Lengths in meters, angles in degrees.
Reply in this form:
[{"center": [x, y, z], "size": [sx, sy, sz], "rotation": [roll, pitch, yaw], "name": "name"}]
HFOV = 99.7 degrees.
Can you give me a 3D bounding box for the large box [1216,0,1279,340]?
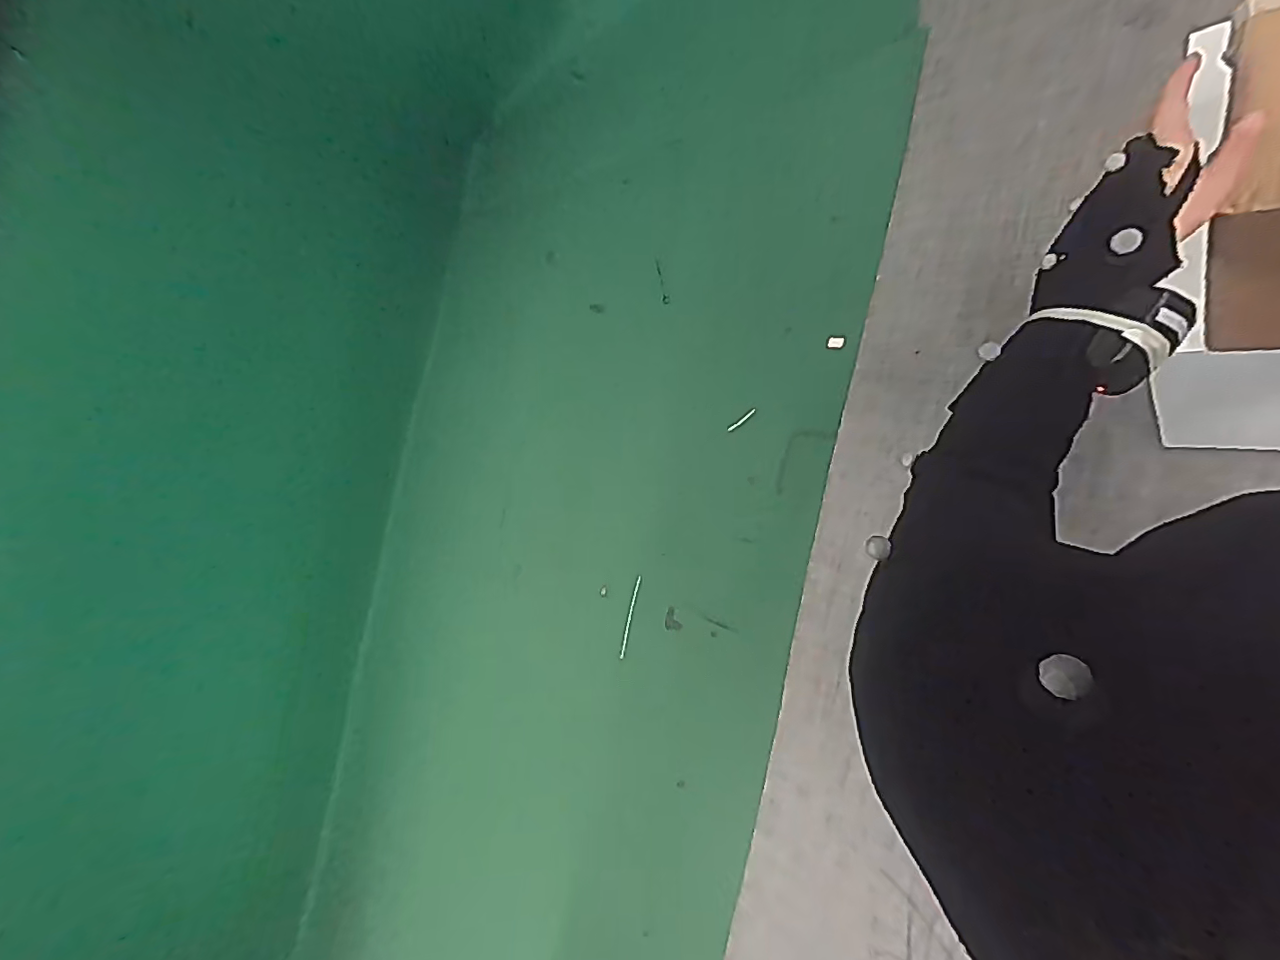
[{"center": [0.690, -0.304, 0.354], "size": [0.408, 0.320, 0.320], "rotation": [9, 88, 45], "name": "large box"}]
